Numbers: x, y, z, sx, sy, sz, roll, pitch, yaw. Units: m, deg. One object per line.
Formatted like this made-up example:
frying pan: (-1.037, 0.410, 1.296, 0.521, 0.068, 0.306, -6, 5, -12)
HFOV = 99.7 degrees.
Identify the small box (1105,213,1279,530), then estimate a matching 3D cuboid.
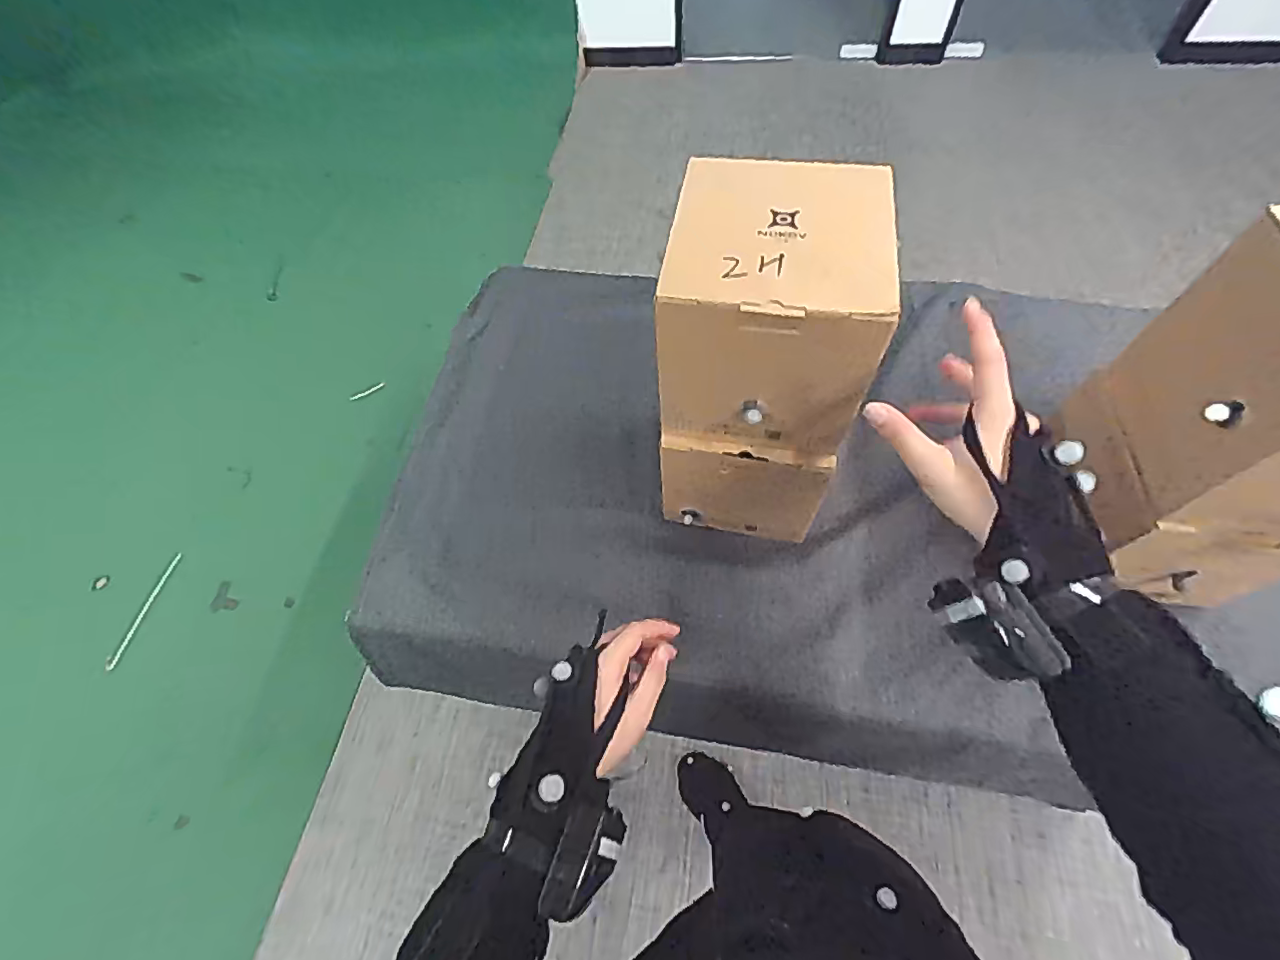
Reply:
small box: (0.508, -0.069, 0.407, 0.168, 0.176, 0.179, 8, 60, 8)

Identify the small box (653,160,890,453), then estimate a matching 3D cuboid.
small box: (0.108, -0.149, 0.481, 0.168, 0.176, 0.179, 8, 61, 9)

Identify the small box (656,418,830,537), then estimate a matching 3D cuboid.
small box: (0.120, -0.053, 0.616, 0.168, 0.176, 0.179, 10, 61, 10)

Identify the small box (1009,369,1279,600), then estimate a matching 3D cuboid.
small box: (0.515, 0.012, 0.548, 0.168, 0.176, 0.179, 5, 61, 7)
